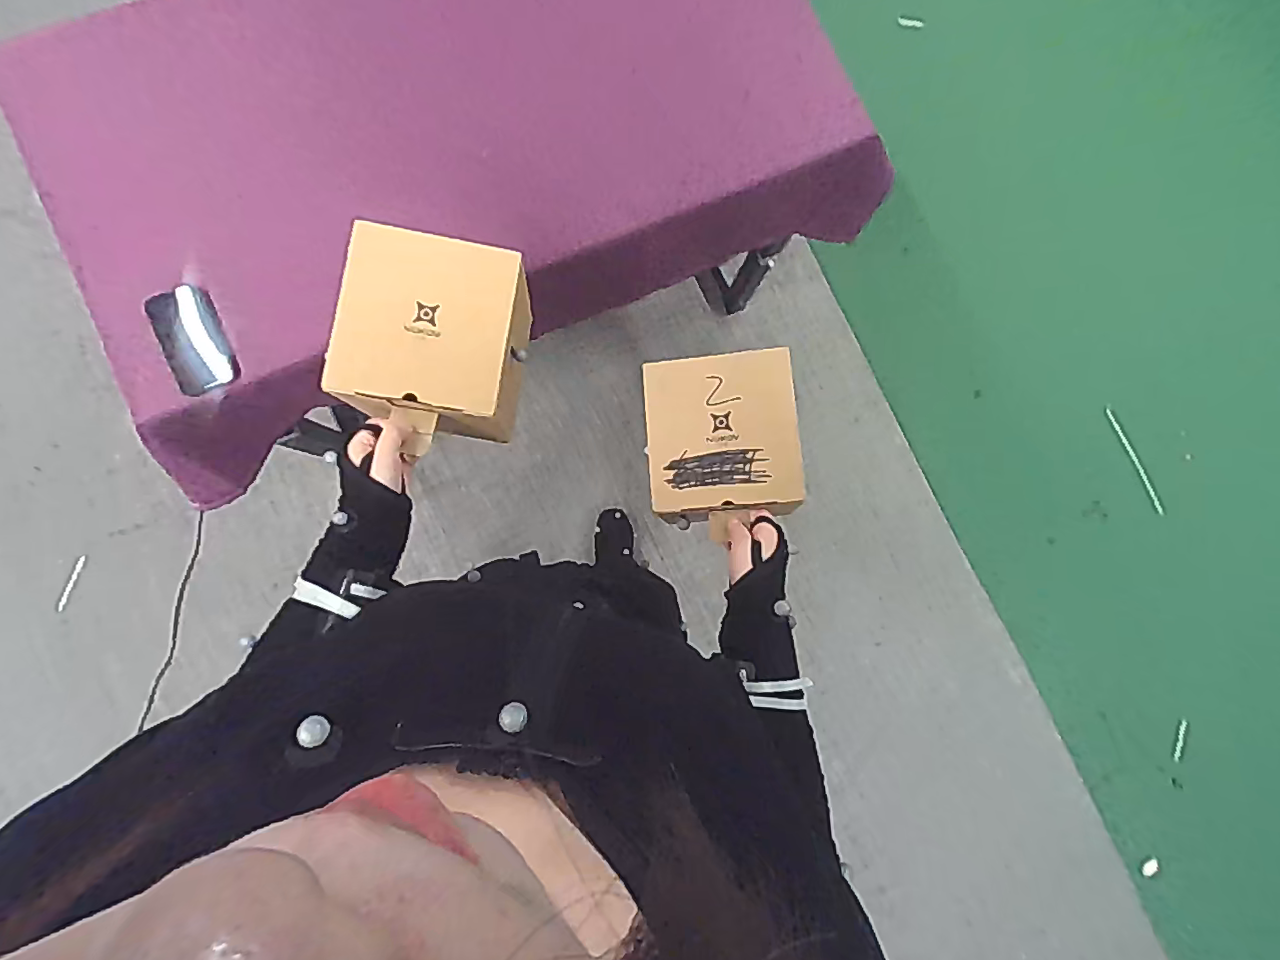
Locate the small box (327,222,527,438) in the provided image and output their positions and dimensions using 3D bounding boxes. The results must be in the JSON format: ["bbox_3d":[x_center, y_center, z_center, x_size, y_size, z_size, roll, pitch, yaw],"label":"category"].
[{"bbox_3d":[-0.226,-0.157,0.623,0.168,0.176,0.179,9,85,-8],"label":"small box"}]
